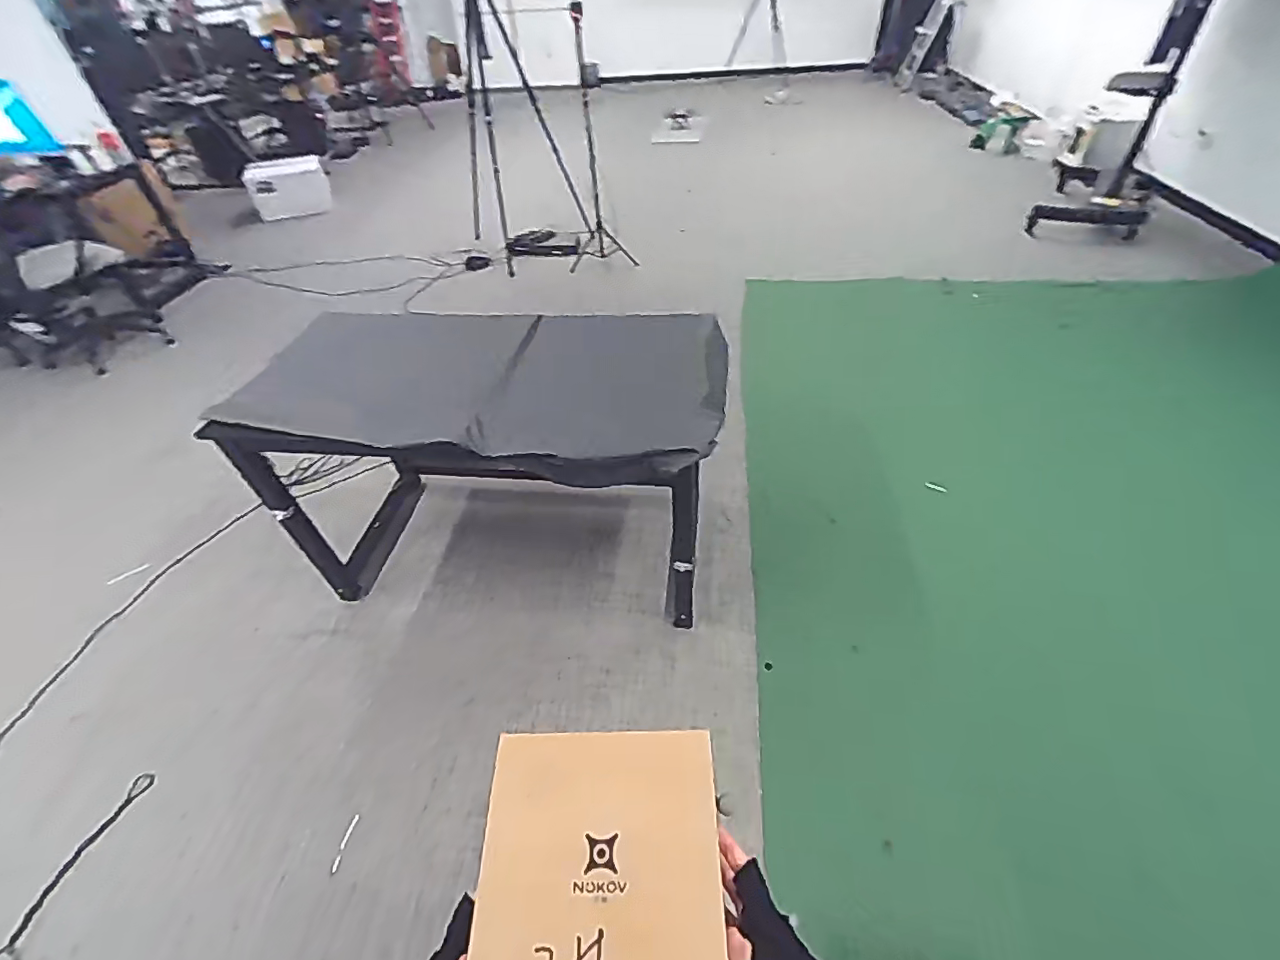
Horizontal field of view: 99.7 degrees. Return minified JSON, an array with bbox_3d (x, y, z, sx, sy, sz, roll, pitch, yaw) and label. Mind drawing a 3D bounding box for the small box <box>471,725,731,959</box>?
[{"bbox_3d":[-0.021,0.311,0.430,0.168,0.176,0.179,-2,51,2],"label":"small box"}]
